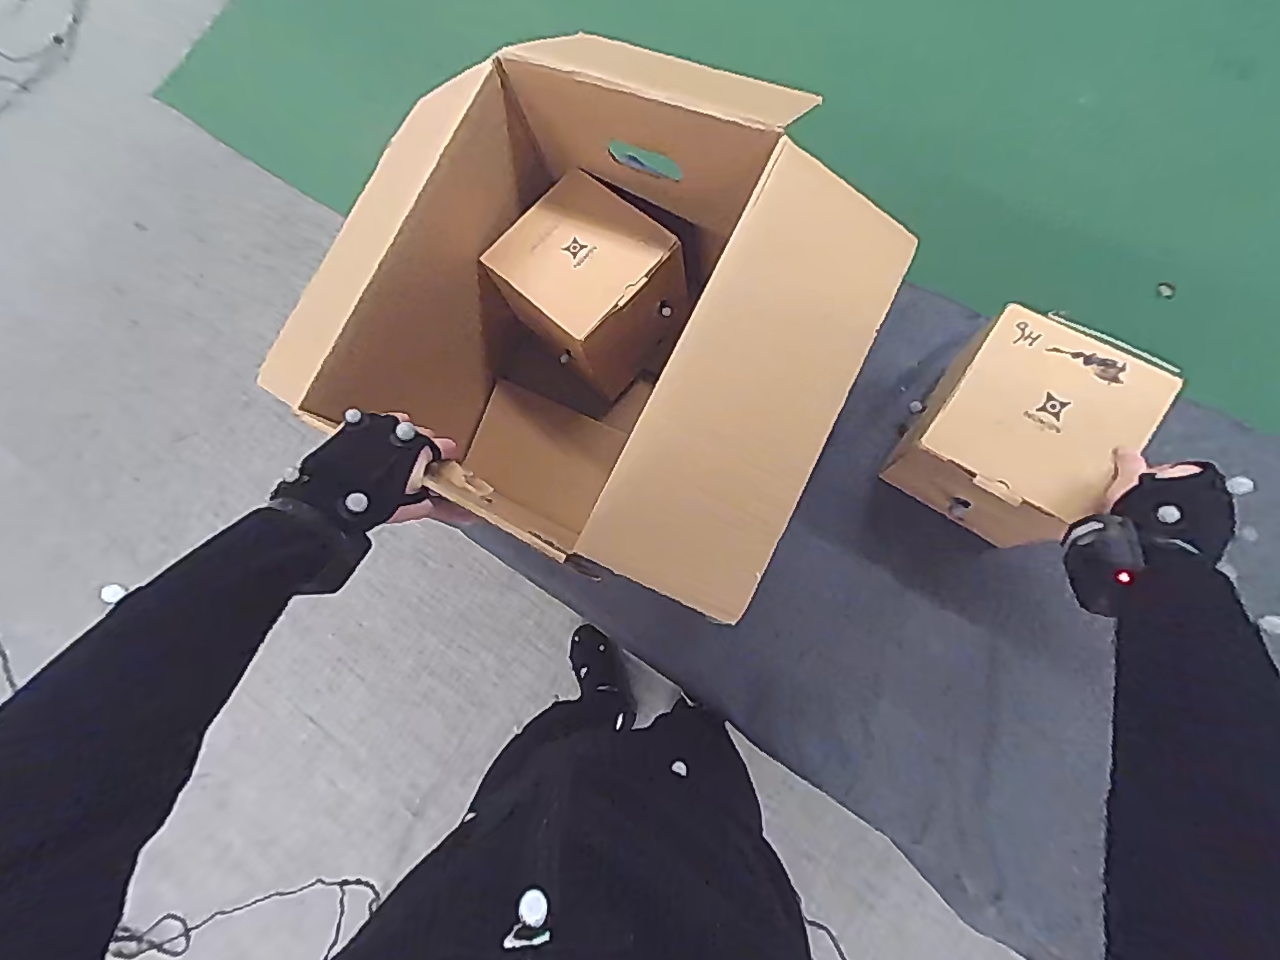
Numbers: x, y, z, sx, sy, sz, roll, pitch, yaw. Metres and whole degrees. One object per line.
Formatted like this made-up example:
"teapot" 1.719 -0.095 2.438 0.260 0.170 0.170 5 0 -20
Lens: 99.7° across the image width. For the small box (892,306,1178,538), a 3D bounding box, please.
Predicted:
"small box" 0.407 -0.049 0.600 0.168 0.176 0.179 34 88 14
